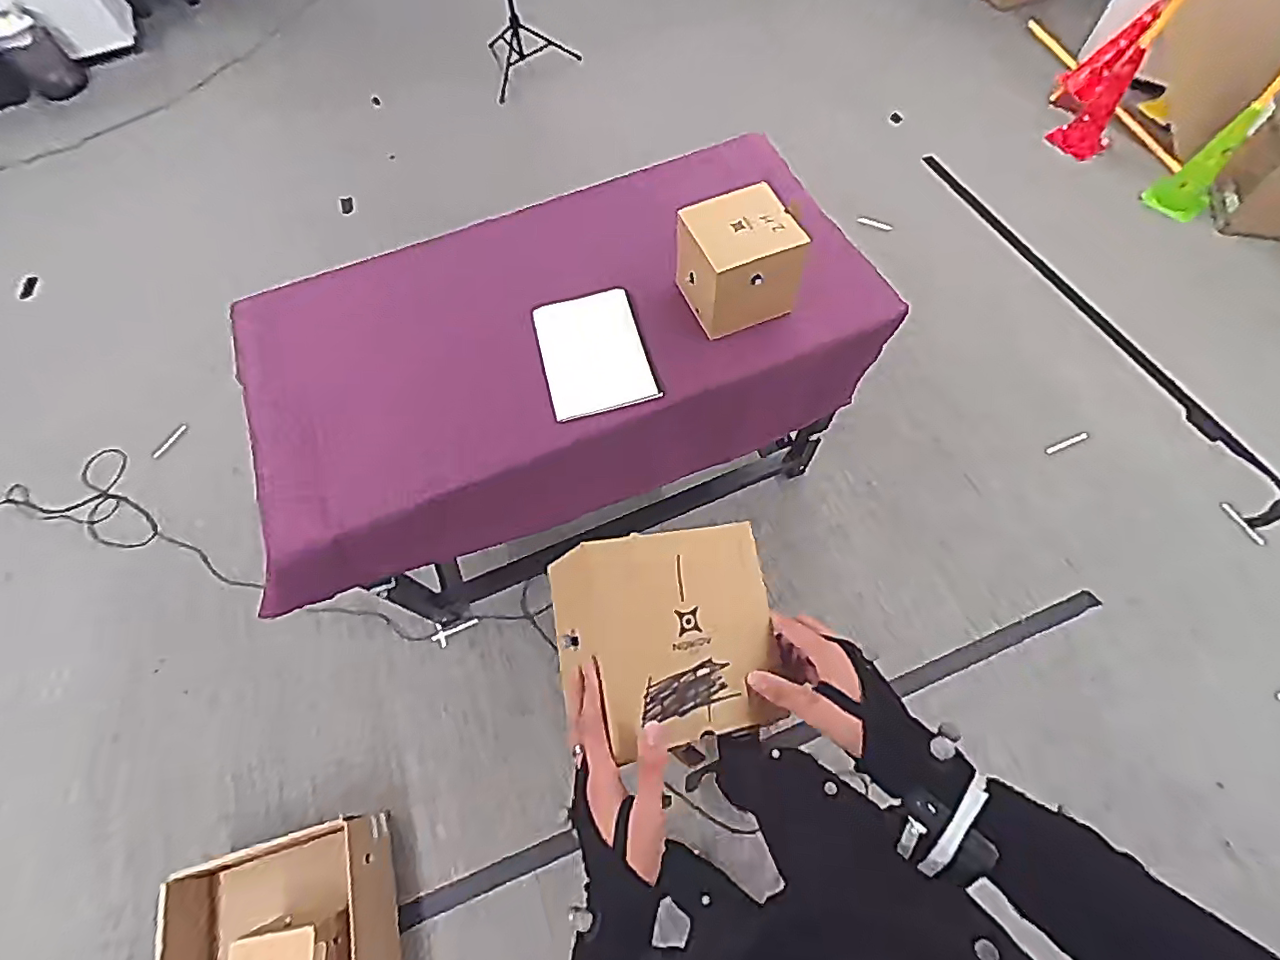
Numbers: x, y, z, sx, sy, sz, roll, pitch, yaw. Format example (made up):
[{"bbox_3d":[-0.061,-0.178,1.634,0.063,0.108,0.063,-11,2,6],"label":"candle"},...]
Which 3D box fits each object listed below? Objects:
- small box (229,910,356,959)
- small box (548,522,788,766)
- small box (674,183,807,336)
[{"bbox_3d":[-0.712,1.021,1.114,0.179,0.176,0.168,-9,65,-2],"label":"small box"},{"bbox_3d":[0.012,0.148,0.524,0.168,0.176,0.179,-5,75,-21],"label":"small box"},{"bbox_3d":[0.173,-0.392,0.982,0.179,0.176,0.168,-21,66,-7],"label":"small box"}]
